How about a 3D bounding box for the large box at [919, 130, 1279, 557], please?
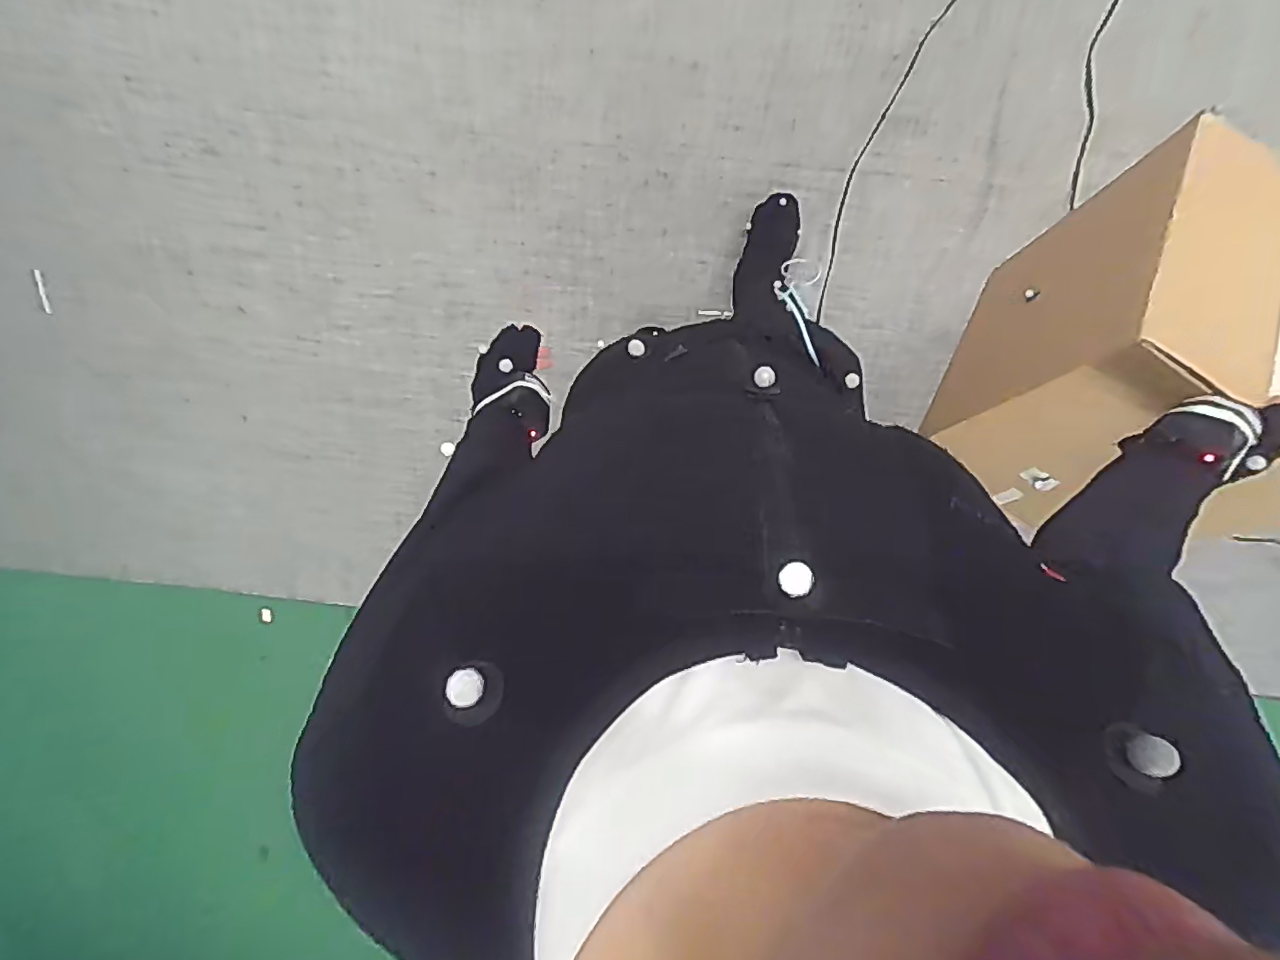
[{"bbox_3d":[0.667,-0.157,0.747,0.320,0.320,0.408,34,69,-3],"label":"large box"}]
